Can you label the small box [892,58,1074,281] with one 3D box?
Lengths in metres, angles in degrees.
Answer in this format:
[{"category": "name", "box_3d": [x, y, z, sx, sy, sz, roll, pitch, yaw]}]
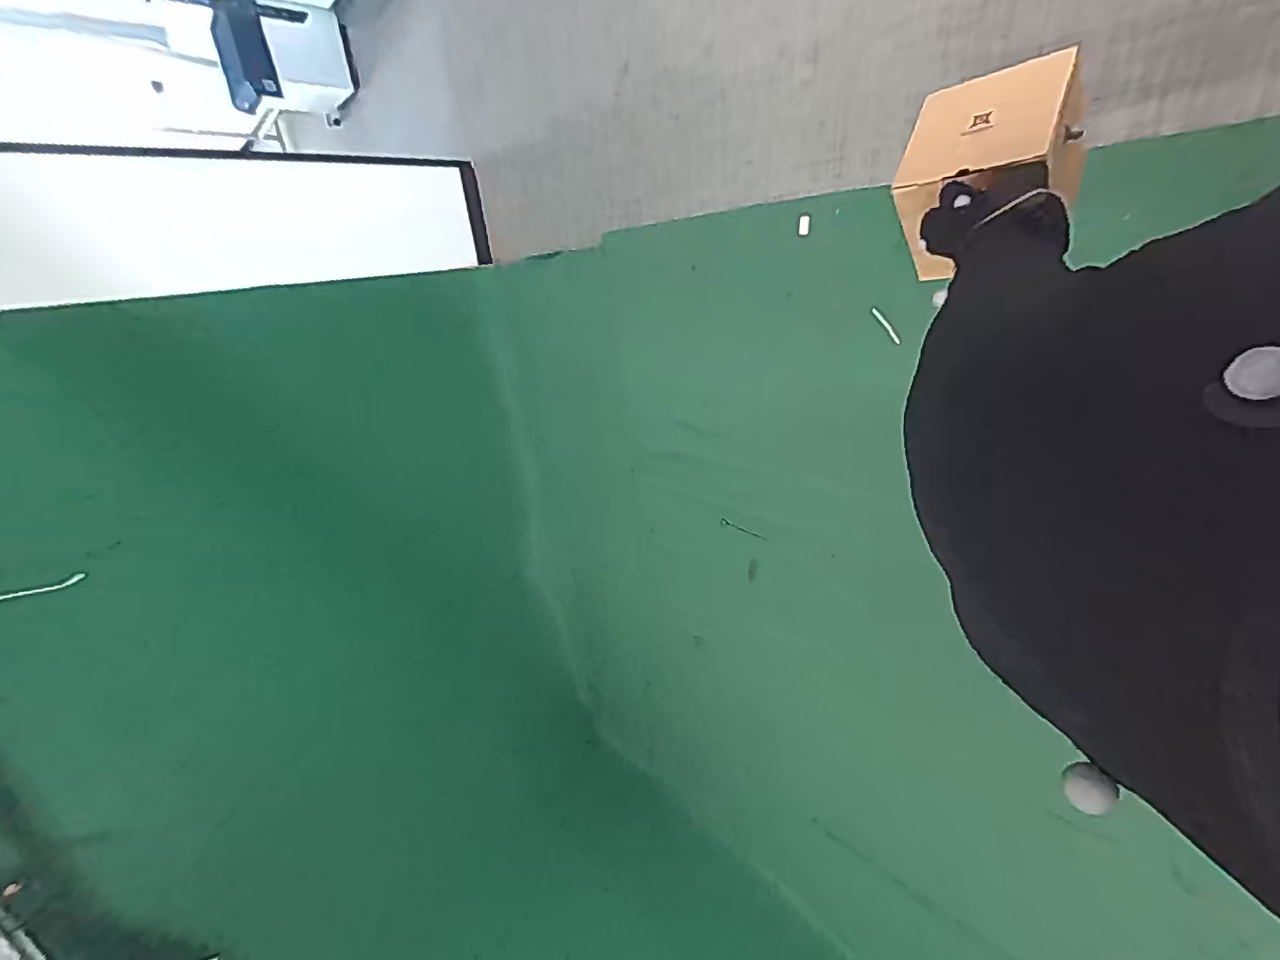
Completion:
[{"category": "small box", "box_3d": [0.466, -0.400, 0.727, 0.168, 0.179, 0.176, 9, 160, 44]}]
